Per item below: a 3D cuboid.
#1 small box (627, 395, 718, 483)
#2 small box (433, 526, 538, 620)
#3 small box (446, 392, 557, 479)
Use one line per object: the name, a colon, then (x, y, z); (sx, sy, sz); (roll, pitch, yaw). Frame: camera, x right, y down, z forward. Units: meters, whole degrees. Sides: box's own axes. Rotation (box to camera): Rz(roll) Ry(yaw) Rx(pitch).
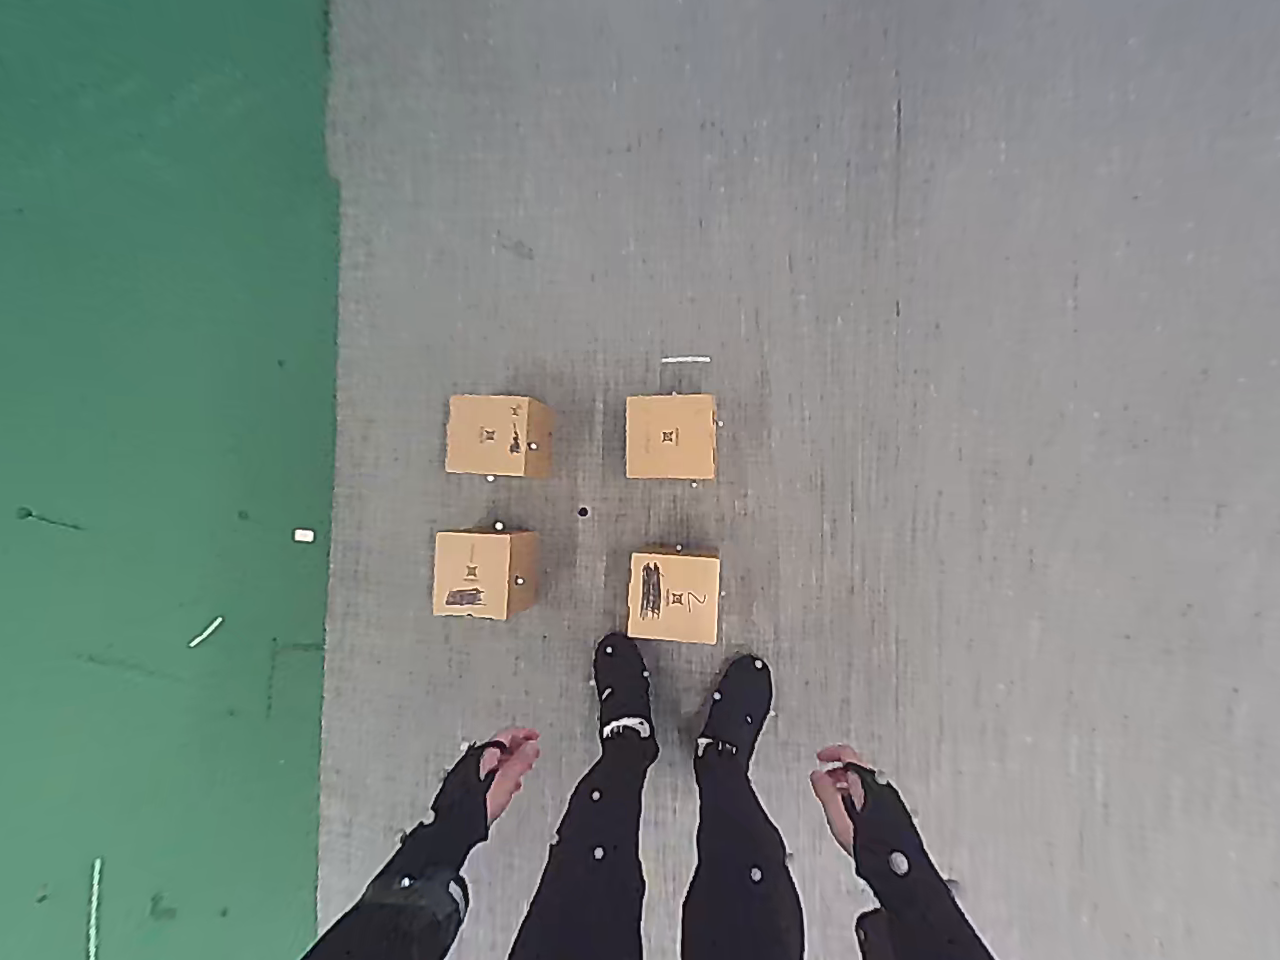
small box: (0.074, -0.081, 1.127); (0.179, 0.176, 0.168); (1, 87, 10)
small box: (-0.330, 0.196, 1.181); (0.168, 0.176, 0.179); (2, 87, 9)
small box: (-0.298, -0.092, 1.187); (0.179, 0.176, 0.168); (4, 88, 10)
